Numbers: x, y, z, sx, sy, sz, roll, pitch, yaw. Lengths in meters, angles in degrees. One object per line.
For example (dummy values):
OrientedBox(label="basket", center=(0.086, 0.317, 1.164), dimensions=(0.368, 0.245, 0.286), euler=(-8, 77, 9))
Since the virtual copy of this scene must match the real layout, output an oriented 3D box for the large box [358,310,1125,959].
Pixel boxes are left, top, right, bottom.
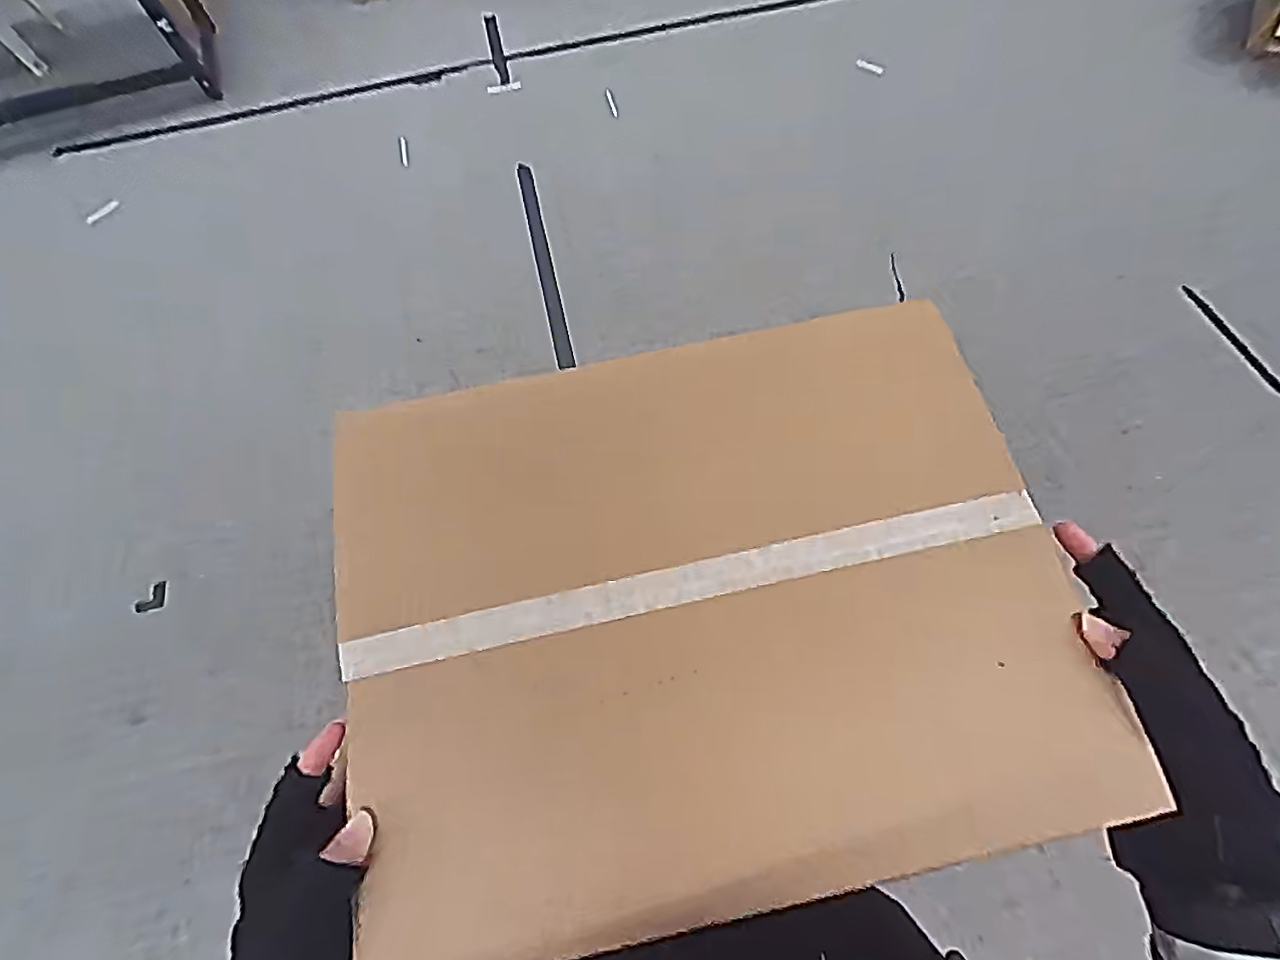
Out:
OrientedBox(label="large box", center=(0.036, 0.112, 0.466), dimensions=(0.408, 0.320, 0.320), euler=(-12, 71, -3))
